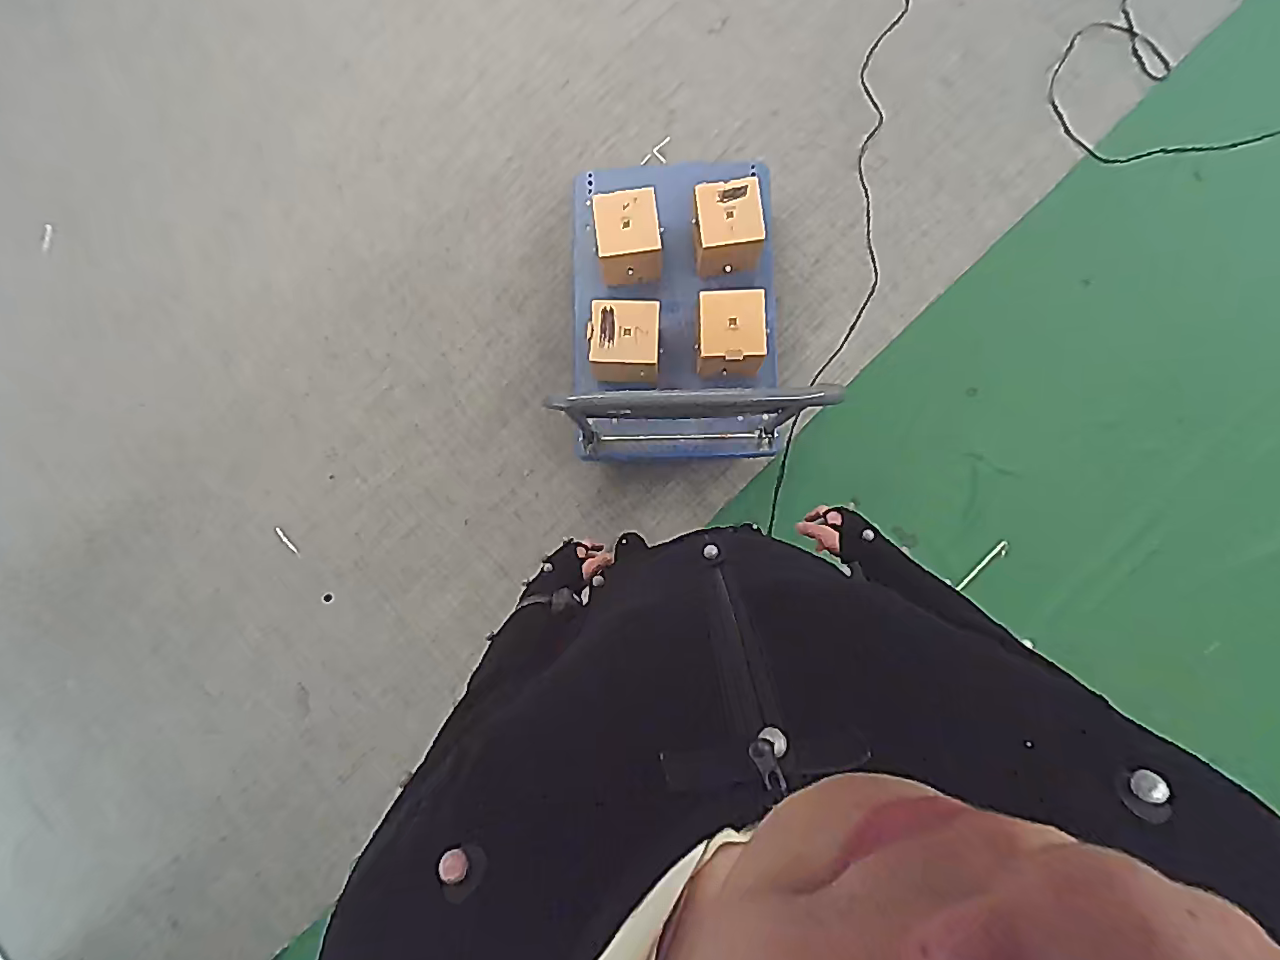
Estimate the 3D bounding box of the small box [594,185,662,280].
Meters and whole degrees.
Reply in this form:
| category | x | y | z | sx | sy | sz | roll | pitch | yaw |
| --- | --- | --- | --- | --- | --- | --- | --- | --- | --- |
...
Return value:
| category | x | y | z | sx | sy | sz | roll | pitch | yaw |
| --- | --- | --- | --- | --- | --- | --- | --- | --- | --- |
| small box | -0.029 | -0.663 | 1.473 | 0.168 | 0.176 | 0.179 | -7 | 84 | 1 |

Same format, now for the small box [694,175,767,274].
| category | x | y | z | sx | sy | sz | roll | pitch | yaw |
| --- | --- | --- | --- | --- | --- | --- | --- | --- | --- |
| small box | 0.239 | -0.684 | 1.463 | 0.168 | 0.176 | 0.179 | -6 | 85 | 3 |

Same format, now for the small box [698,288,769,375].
| category | x | y | z | sx | sy | sz | roll | pitch | yaw |
| --- | --- | --- | --- | --- | --- | --- | --- | --- | --- |
| small box | 0.242 | -0.389 | 1.436 | 0.168 | 0.176 | 0.179 | -1 | 85 | 2 |
